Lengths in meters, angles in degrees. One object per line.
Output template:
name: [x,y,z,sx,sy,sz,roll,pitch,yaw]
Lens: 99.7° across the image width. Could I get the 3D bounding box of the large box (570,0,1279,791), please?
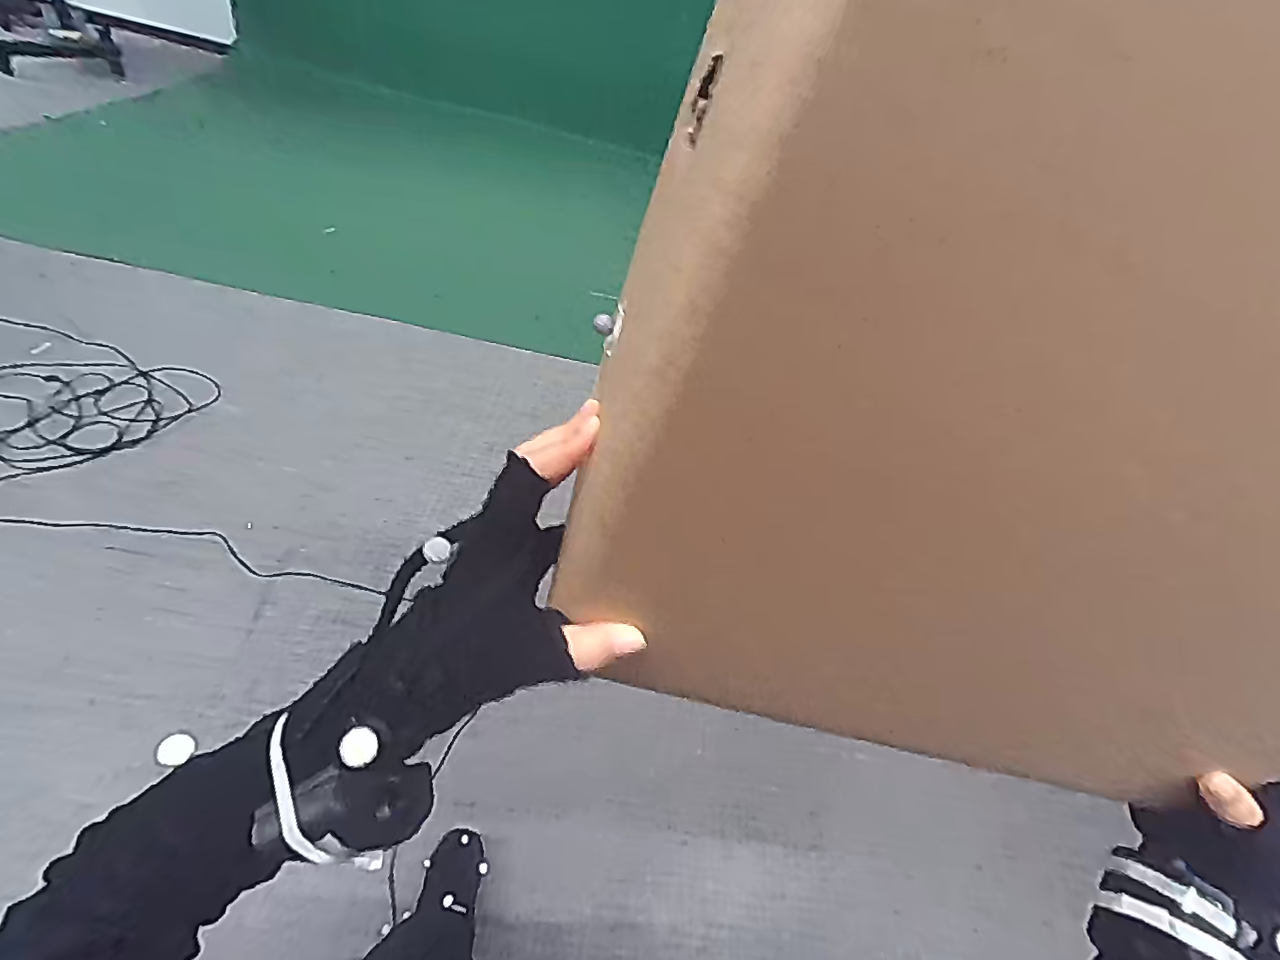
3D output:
large box: [0.203,-0.056,0.319,0.408,0.320,0.320,17,43,-11]
